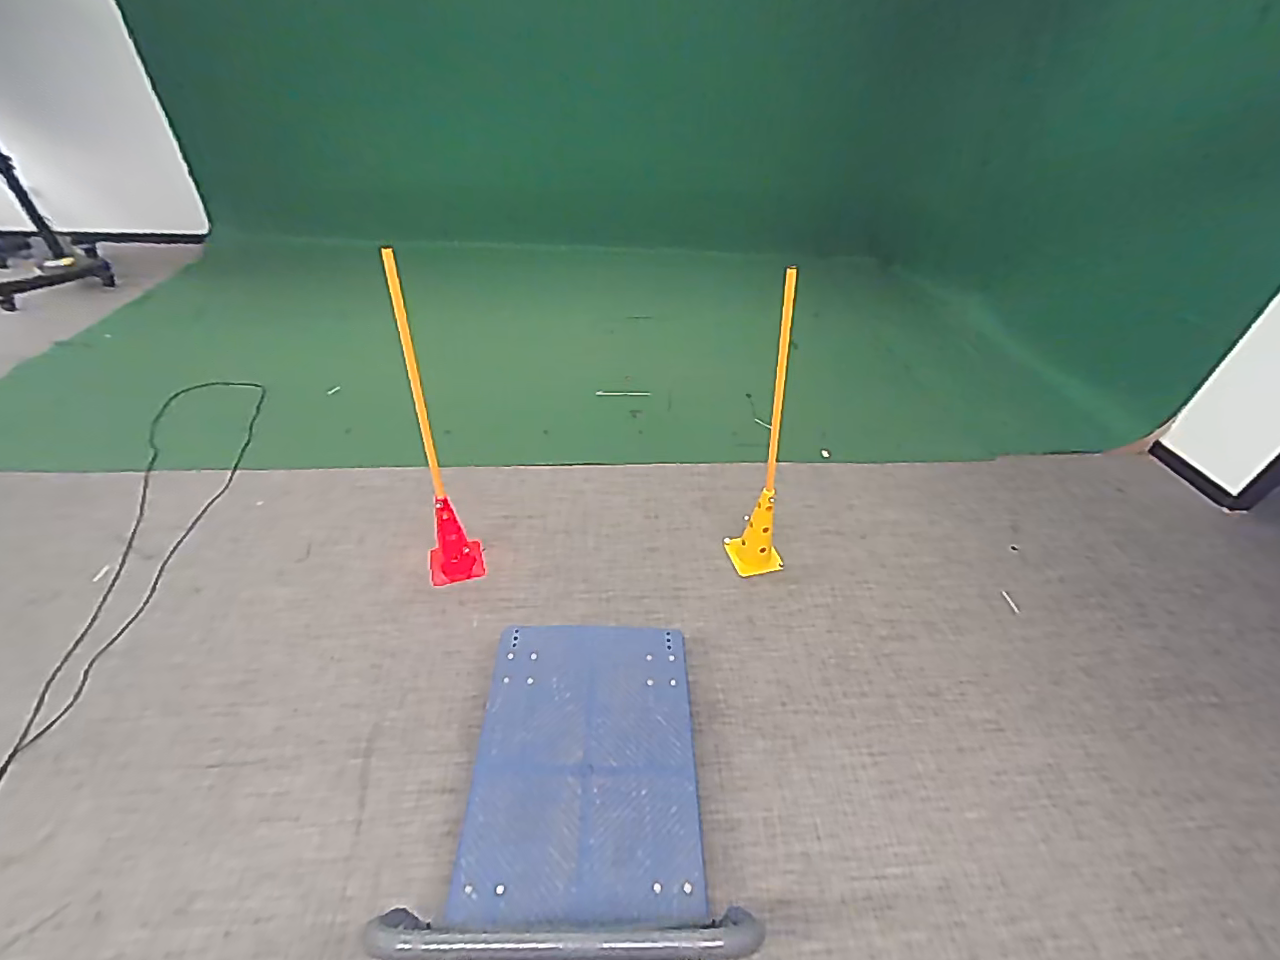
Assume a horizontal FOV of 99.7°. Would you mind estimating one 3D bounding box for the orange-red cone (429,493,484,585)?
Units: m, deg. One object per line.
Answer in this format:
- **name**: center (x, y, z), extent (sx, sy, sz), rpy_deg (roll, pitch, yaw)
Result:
- **orange-red cone**: center (-0.712, 0.191, 1.999), extent (0.199, 0.360, 0.198), rpy_deg (-12, 42, -15)
